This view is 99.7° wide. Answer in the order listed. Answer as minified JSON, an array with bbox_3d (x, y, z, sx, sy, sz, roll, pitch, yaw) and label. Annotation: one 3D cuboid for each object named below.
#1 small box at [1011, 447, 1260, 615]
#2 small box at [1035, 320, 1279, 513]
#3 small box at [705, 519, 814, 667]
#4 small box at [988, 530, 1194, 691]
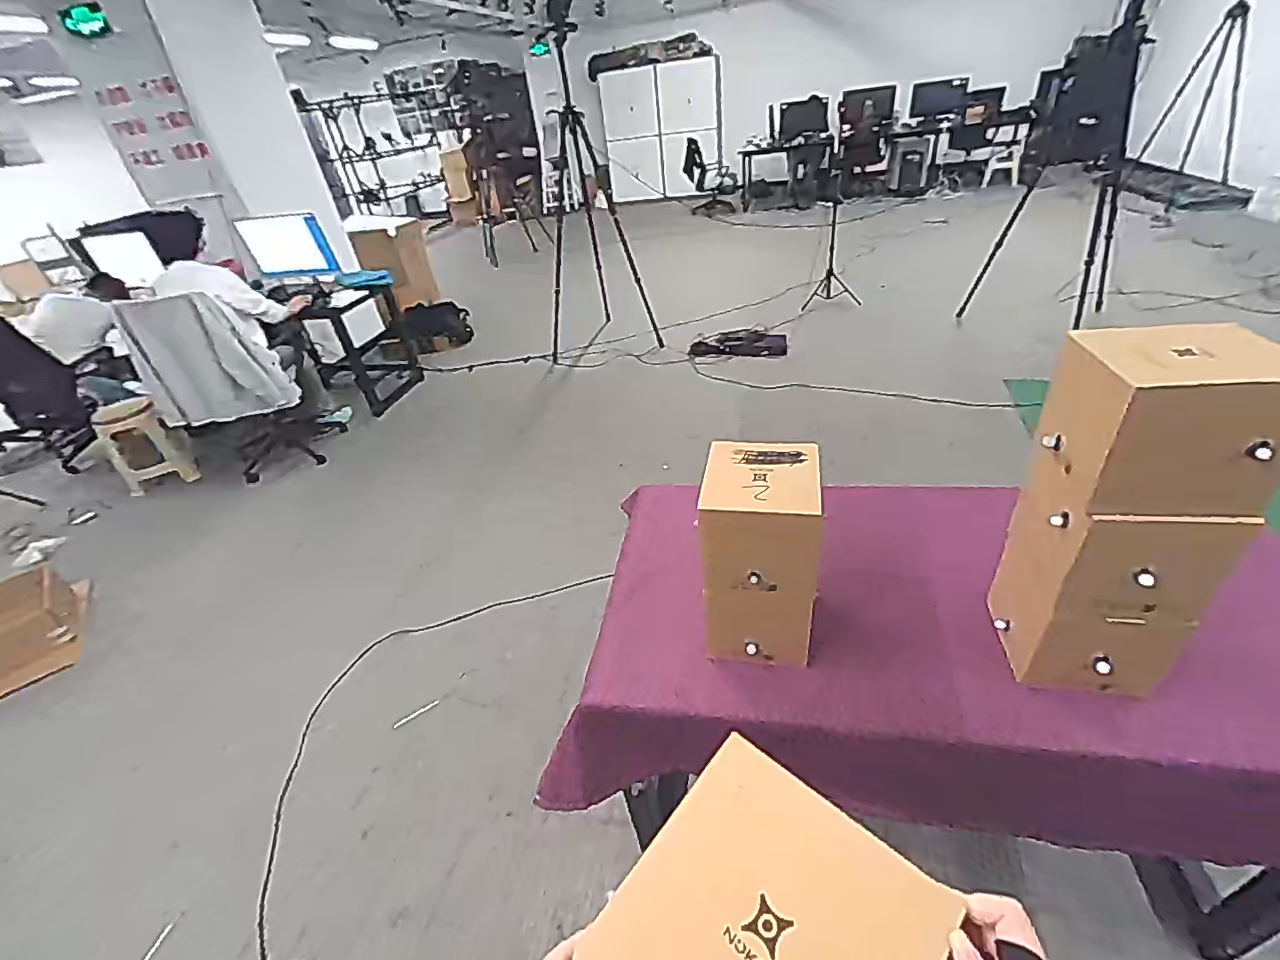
[{"bbox_3d":[0.636,0.061,0.726,0.168,0.176,0.179,1,36,13],"label":"small box"},{"bbox_3d":[0.612,-0.074,0.637,0.179,0.176,0.168,0,35,14],"label":"small box"},{"bbox_3d":[0.206,0.189,0.927,0.168,0.176,0.179,2,37,15],"label":"small box"},{"bbox_3d":[0.660,0.194,0.821,0.168,0.176,0.179,1,37,13],"label":"small box"}]
